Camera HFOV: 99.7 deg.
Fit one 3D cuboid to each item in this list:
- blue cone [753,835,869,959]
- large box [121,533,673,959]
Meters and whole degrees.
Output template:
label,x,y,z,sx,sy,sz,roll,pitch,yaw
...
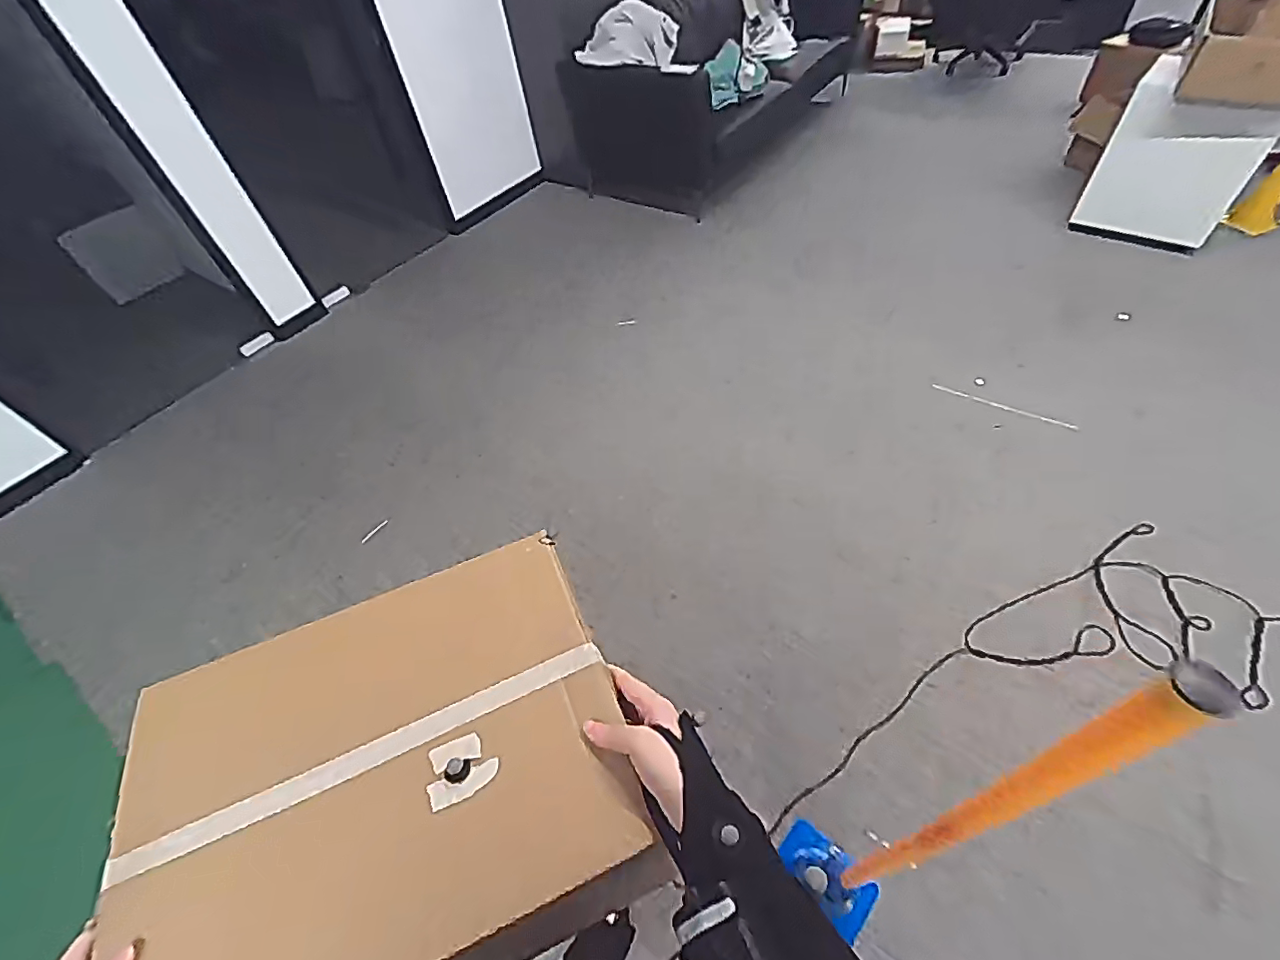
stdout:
label,x,y,z,sx,sy,sz,roll,pitch,yaw
blue cone,0.343,0.780,1.014,0.193,0.380,0.192,34,63,31
large box,-0.208,0.328,0.584,0.408,0.320,0.320,-21,51,-13
